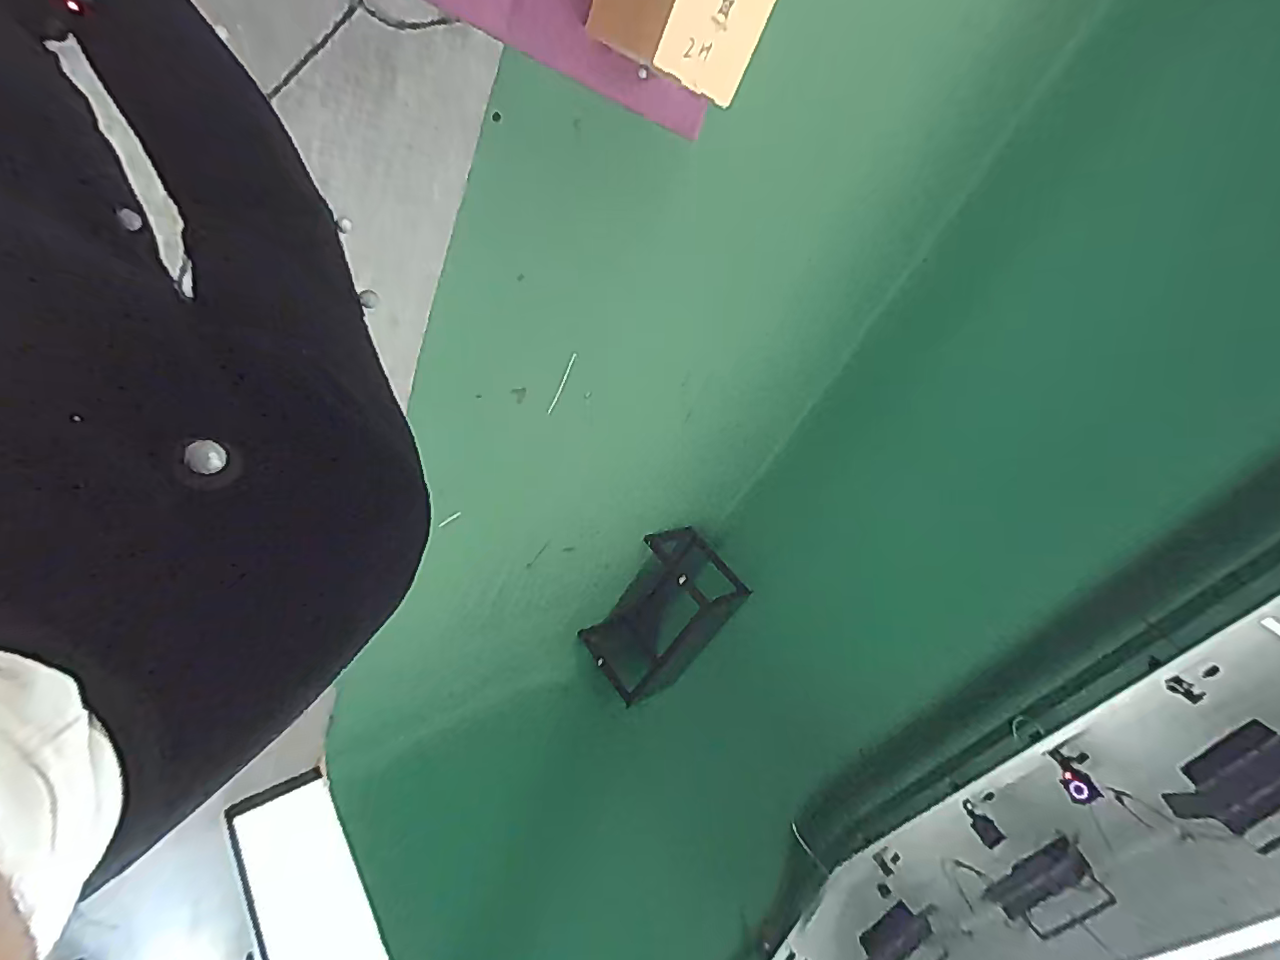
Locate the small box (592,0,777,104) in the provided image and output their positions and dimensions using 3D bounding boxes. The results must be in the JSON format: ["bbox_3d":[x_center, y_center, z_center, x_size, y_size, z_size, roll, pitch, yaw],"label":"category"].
[{"bbox_3d":[0.061,-0.660,0.731,0.168,0.176,0.179,-9,139,-44],"label":"small box"}]
